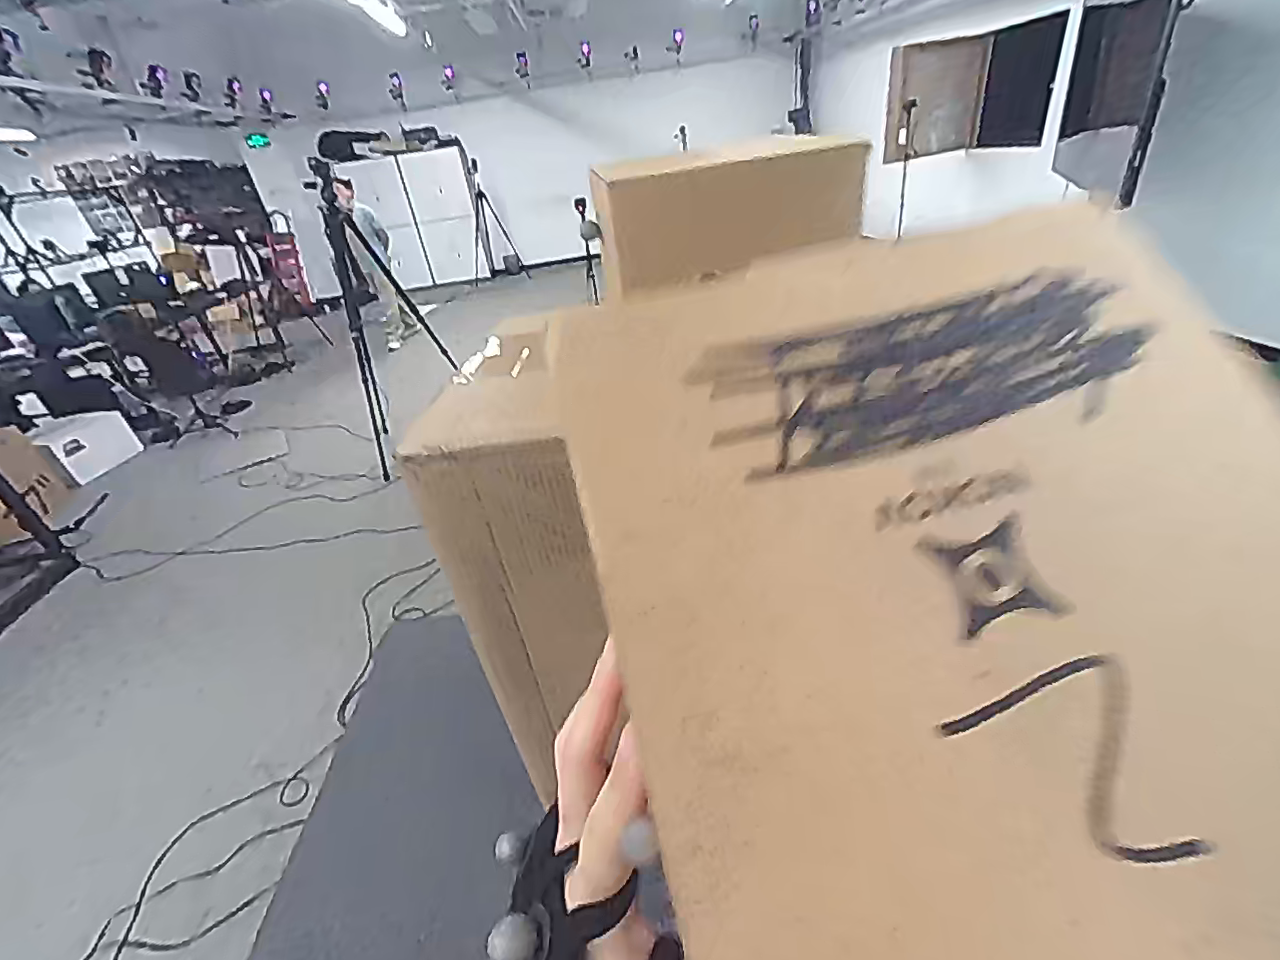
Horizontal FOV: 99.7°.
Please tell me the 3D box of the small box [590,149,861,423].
[{"bbox_3d":[0.059,-0.155,0.439,0.168,0.176,0.179,-11,32,-2],"label":"small box"}]
